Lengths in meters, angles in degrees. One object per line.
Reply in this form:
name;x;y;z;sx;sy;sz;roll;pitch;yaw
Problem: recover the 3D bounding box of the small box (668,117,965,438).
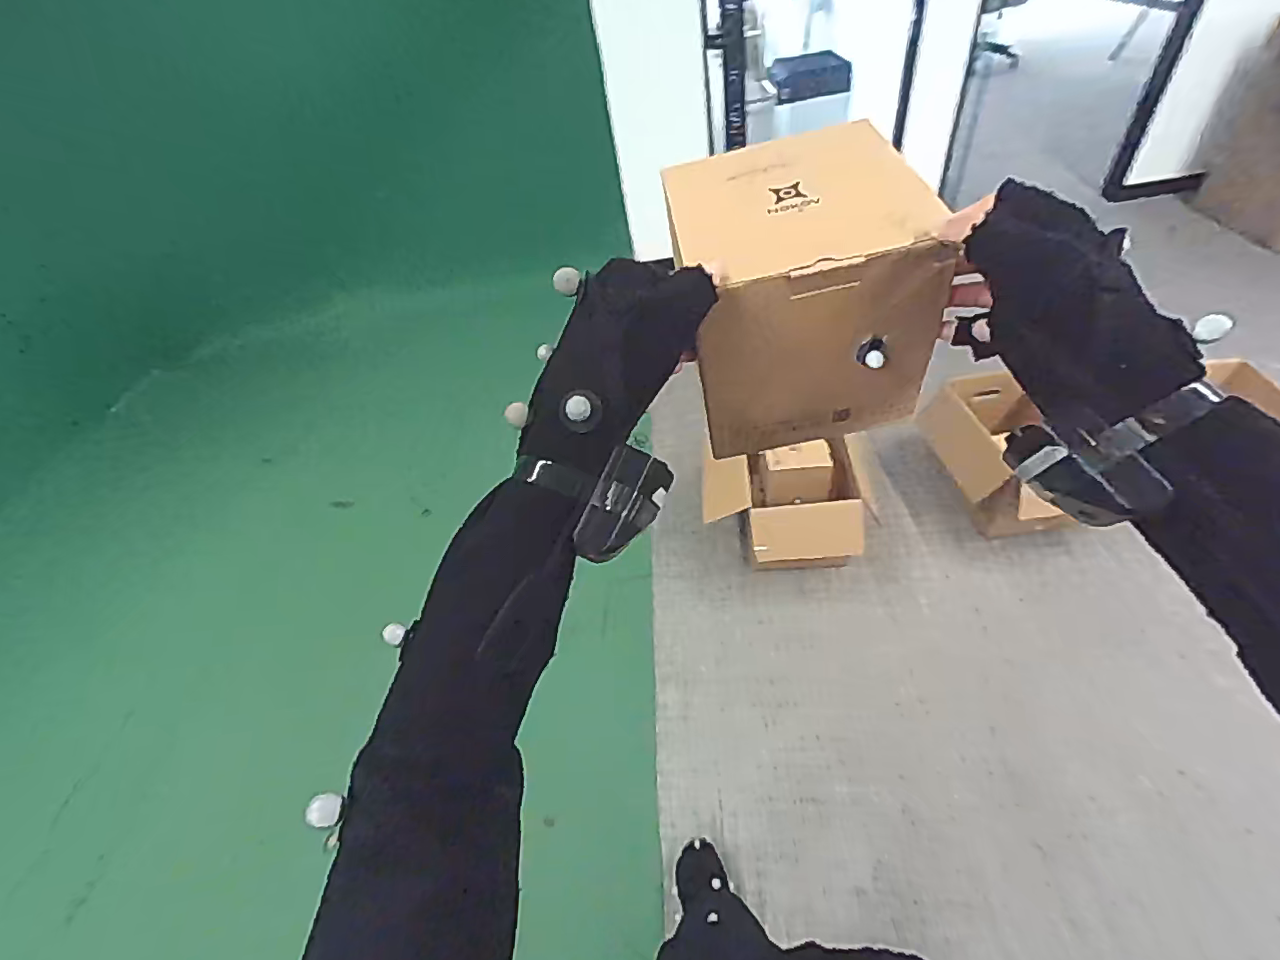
small box;0.123;-0.150;0.438;0.168;0.176;0.179;-10;52;6
